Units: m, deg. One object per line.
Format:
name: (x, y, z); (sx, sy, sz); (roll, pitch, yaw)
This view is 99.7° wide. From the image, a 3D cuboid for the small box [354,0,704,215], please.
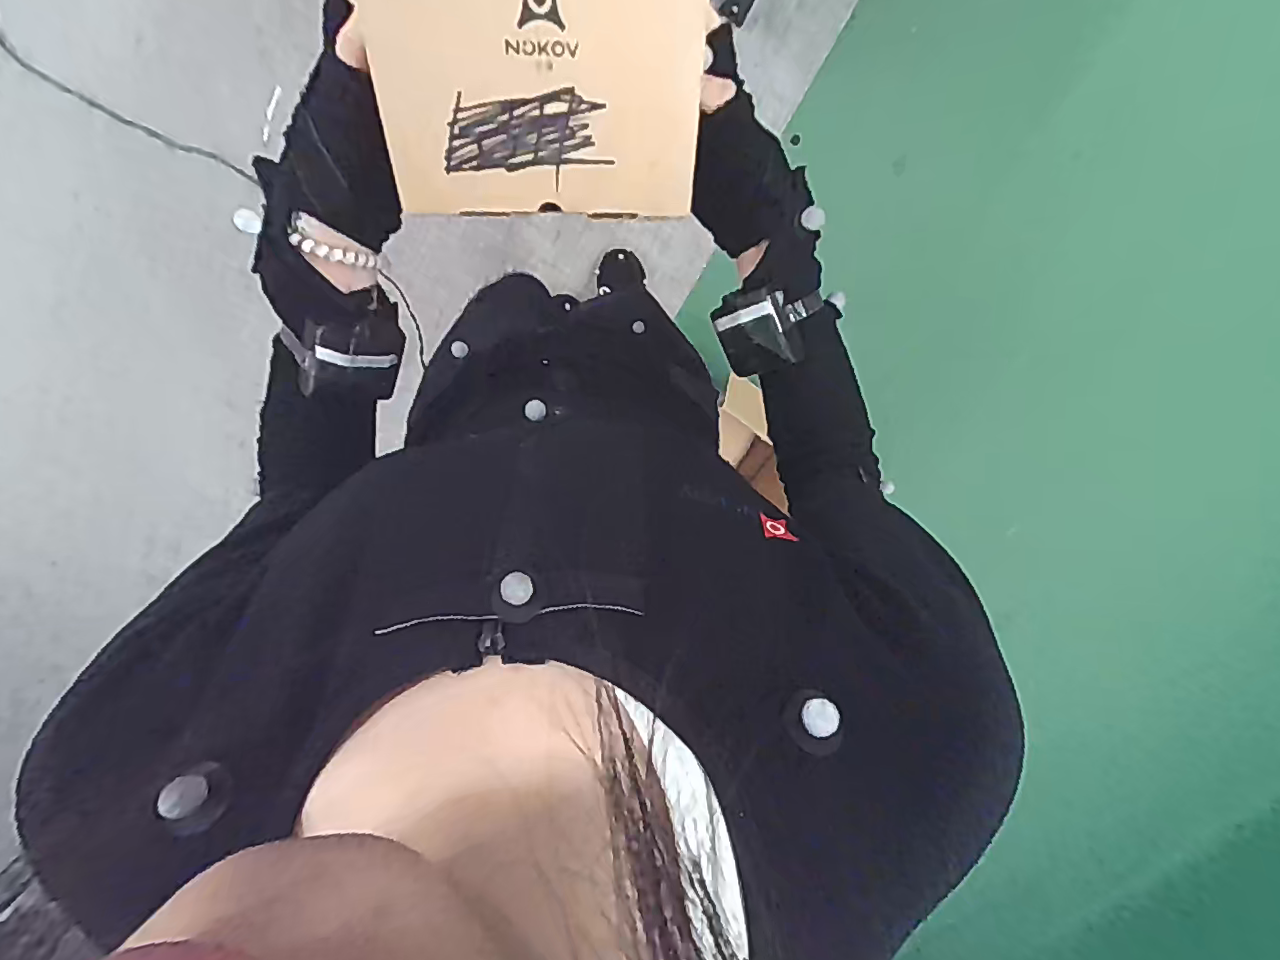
small box: (-0.059, -0.273, 0.316); (0.168, 0.176, 0.179); (-3, 130, -7)
